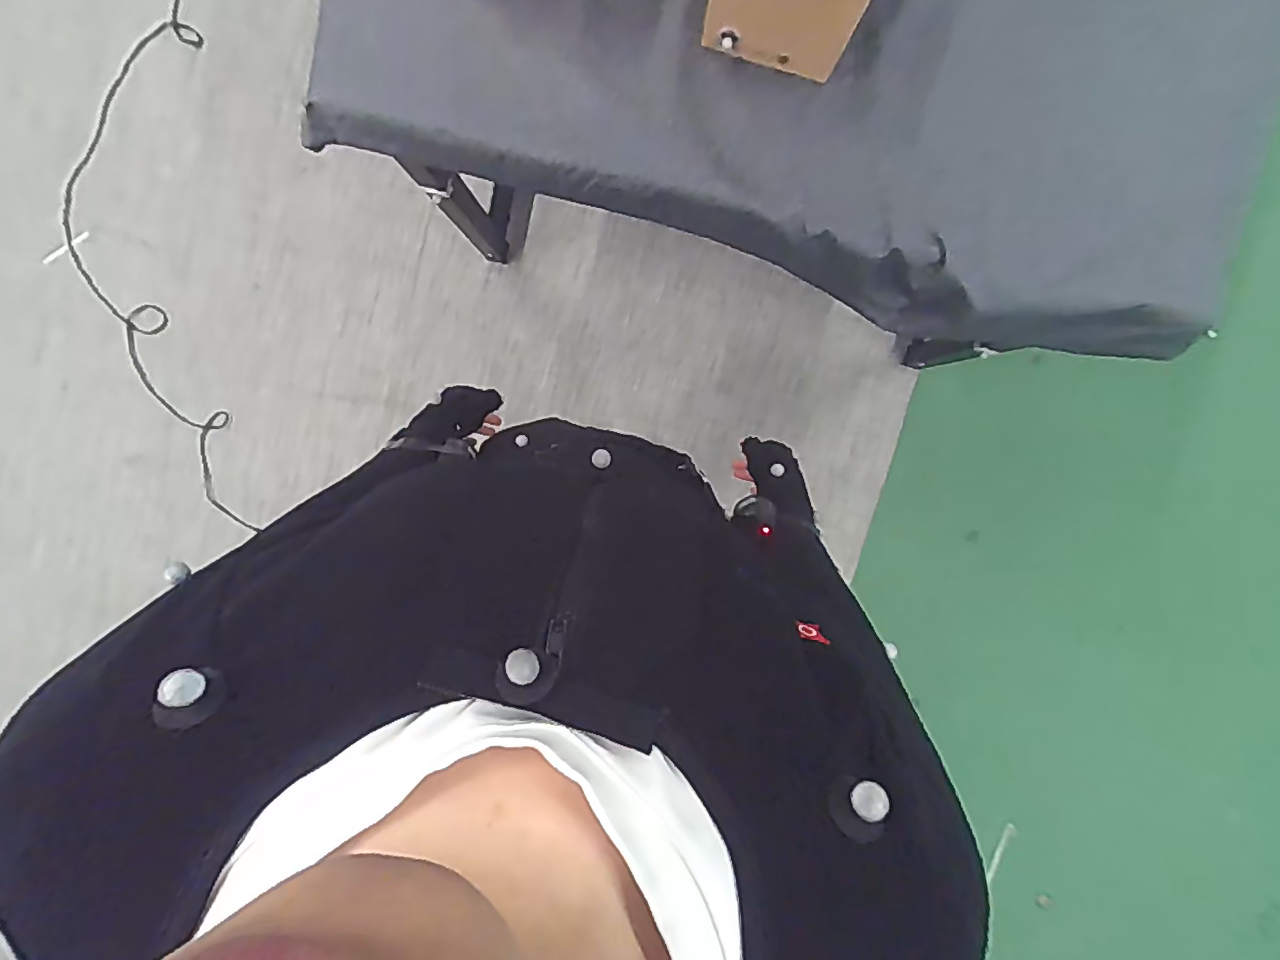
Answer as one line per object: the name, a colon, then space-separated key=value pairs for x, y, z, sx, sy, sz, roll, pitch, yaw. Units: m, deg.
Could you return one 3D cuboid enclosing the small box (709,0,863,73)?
small box: x=0.180 y=-0.600 z=0.592 sx=0.168 sy=0.176 sz=0.179 roll=16 pitch=95 yaw=-1
